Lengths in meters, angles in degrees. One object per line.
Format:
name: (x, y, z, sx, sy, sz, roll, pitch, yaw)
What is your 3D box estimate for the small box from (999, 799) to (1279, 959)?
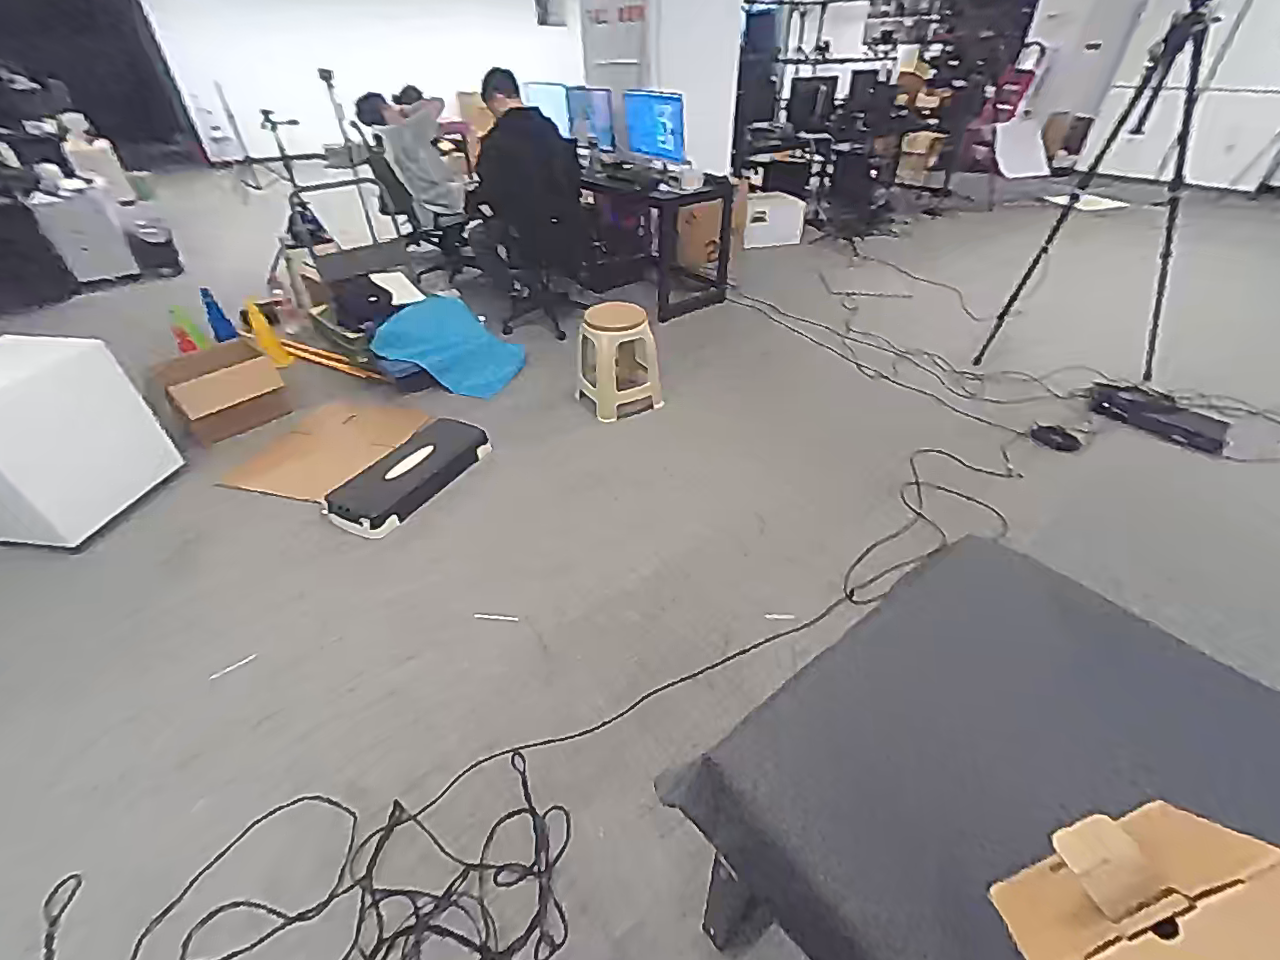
small box: (0.388, 0.349, 0.361, 0.168, 0.176, 0.179, -35, 60, 6)
